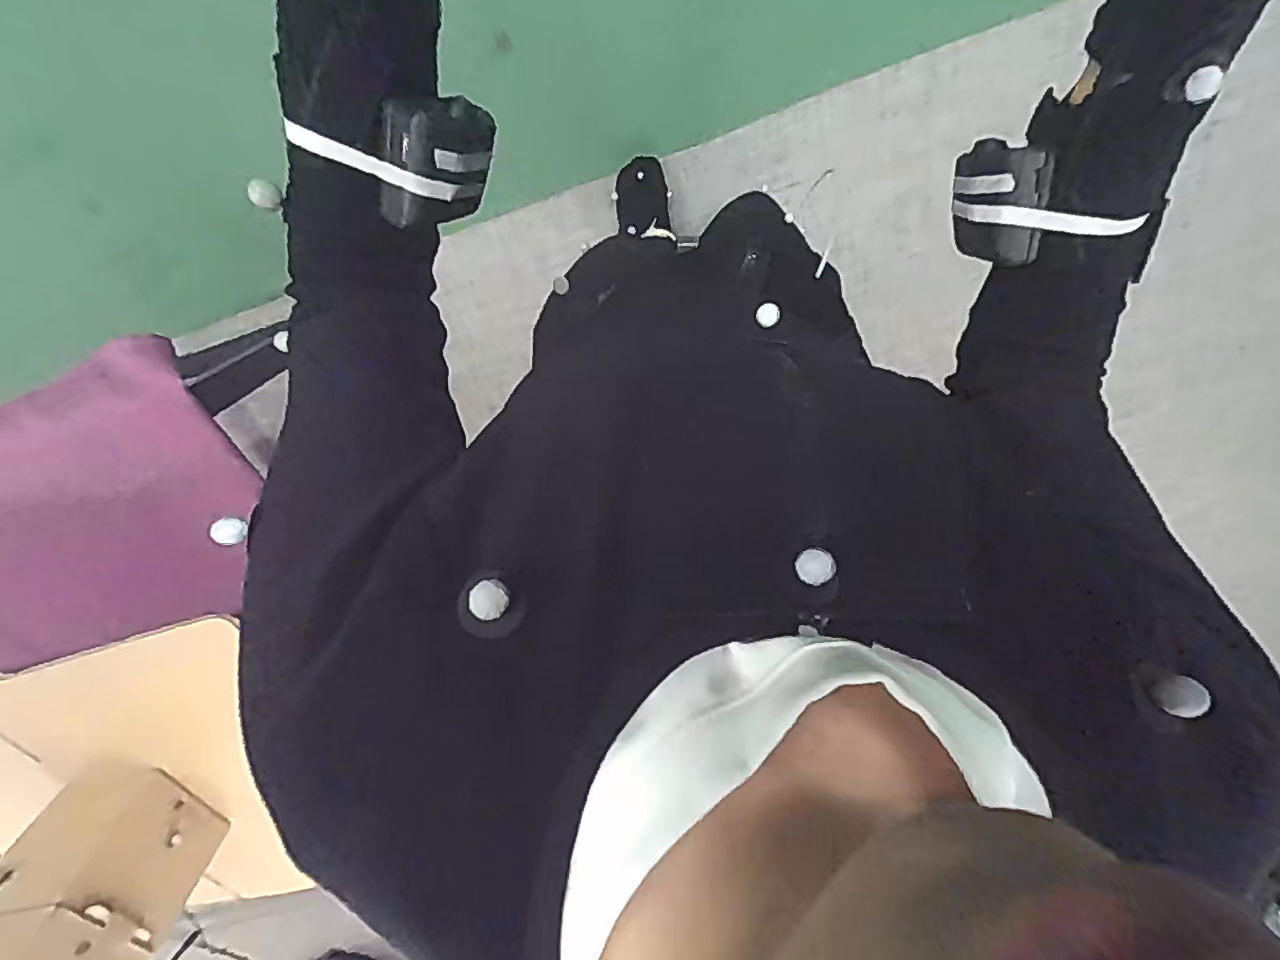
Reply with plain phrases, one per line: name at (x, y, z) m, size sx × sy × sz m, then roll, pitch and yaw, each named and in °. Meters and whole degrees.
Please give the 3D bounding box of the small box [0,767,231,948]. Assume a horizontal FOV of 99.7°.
small box at (-0.753, 0.542, 0.773) m, size 0.179 × 0.176 × 0.168 m, roll -13°, pitch 121°, yaw 7°

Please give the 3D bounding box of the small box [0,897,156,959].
small box at (-0.745, 0.626, 0.633) m, size 0.179 × 0.176 × 0.168 m, roll -15°, pitch 120°, yaw 8°
